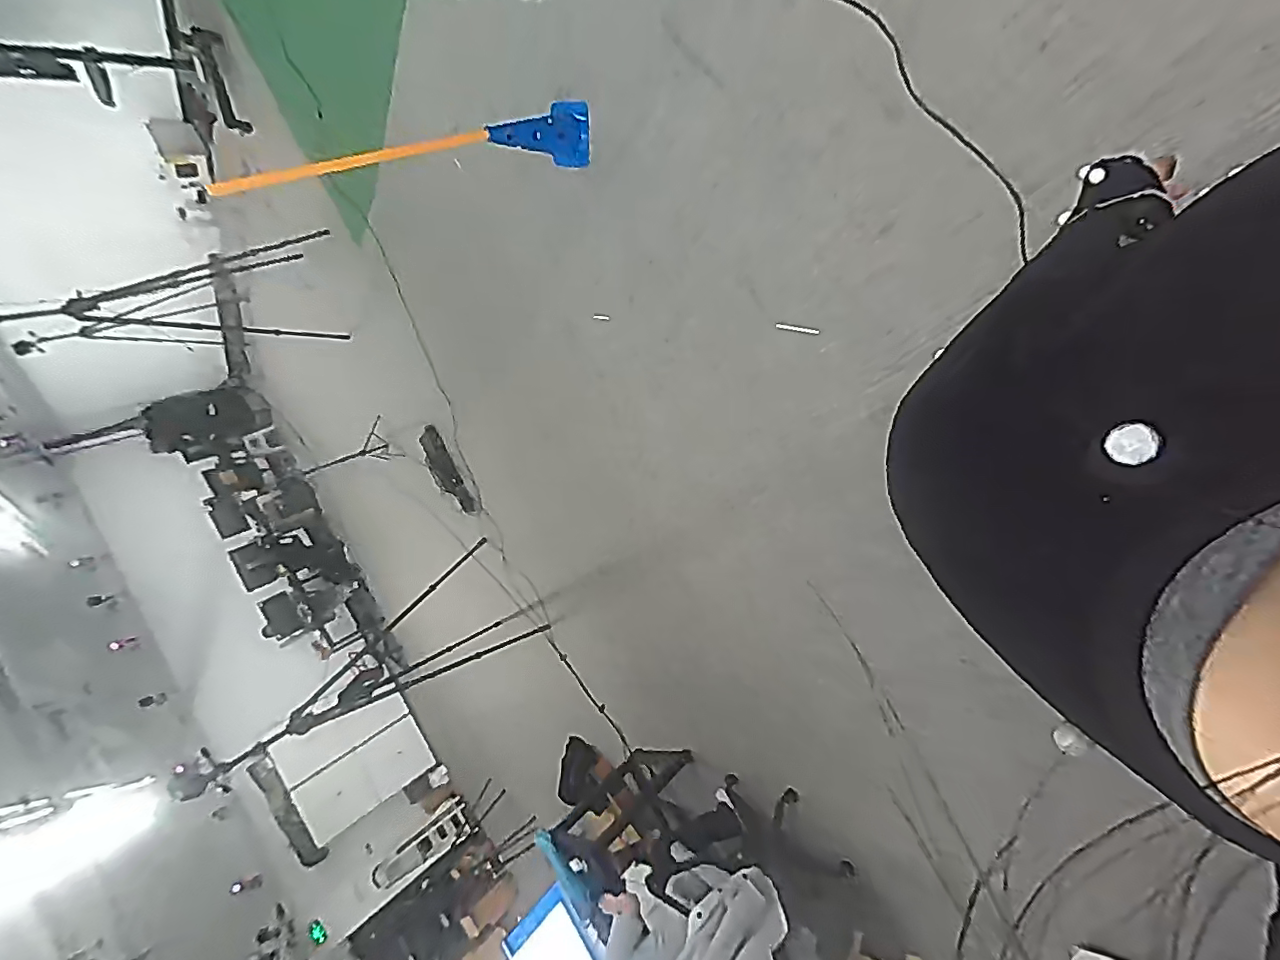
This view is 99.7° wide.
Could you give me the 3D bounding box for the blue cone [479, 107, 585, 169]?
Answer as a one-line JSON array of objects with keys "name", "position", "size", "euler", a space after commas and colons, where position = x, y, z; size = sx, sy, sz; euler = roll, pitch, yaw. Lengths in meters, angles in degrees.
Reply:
[{"name": "blue cone", "position": [-0.377, -1.175, 1.864], "size": [0.192, 0.380, 0.193], "euler": [26, 131, 36]}]
